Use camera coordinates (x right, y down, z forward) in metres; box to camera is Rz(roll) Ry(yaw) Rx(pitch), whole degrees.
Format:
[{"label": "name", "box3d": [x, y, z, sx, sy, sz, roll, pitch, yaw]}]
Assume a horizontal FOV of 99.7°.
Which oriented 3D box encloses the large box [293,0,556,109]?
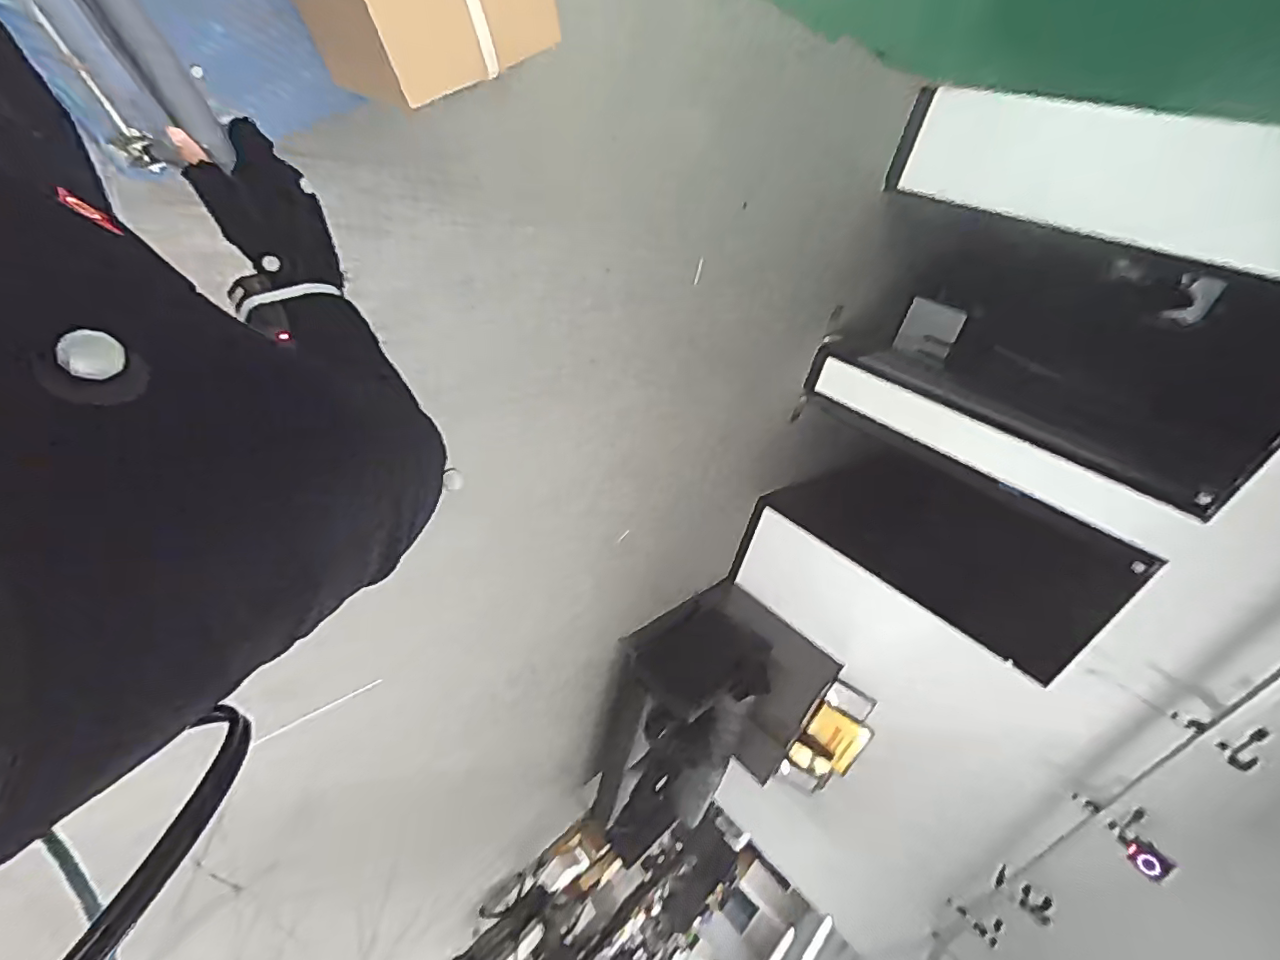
[{"label": "large box", "box3d": [-0.386, -0.858, 0.814, 0.320, 0.320, 0.408, -40, 144, -20]}]
